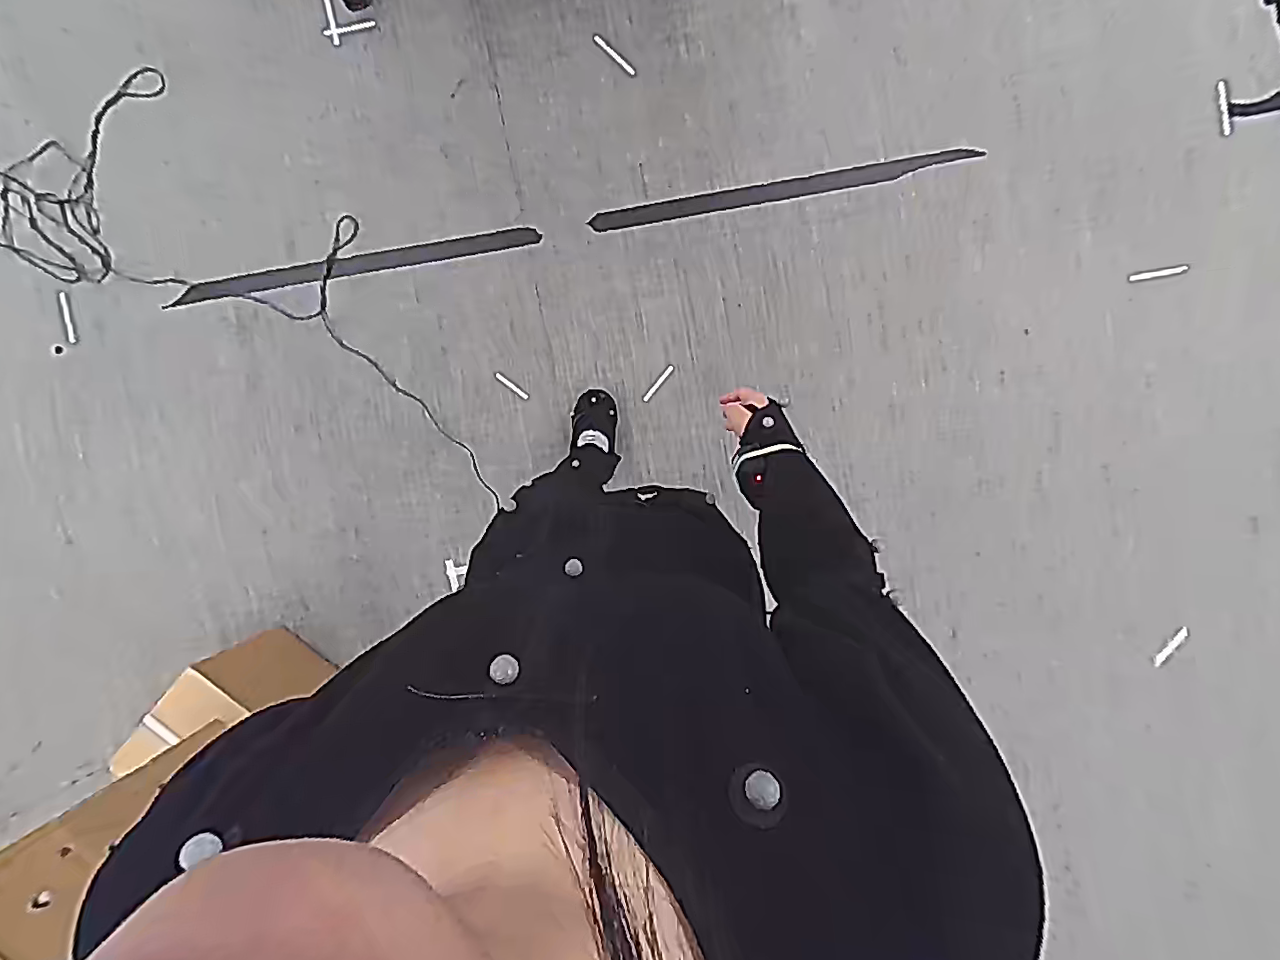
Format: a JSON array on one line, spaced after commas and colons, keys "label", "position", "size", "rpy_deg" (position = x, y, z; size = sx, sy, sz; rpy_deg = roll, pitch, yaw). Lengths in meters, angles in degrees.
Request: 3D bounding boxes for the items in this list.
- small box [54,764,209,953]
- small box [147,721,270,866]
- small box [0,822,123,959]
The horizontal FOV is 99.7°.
[{"label": "small box", "position": [-0.936, 0.662, 0.967], "size": [0.168, 0.176, 0.179], "rpy_deg": [39, 93, -1]}, {"label": "small box", "position": [-0.932, 0.652, 1.130], "size": [0.168, 0.176, 0.179], "rpy_deg": [38, 92, -1]}, {"label": "small box", "position": [-0.940, 0.666, 0.804], "size": [0.168, 0.176, 0.179], "rpy_deg": [38, 93, -1]}]
